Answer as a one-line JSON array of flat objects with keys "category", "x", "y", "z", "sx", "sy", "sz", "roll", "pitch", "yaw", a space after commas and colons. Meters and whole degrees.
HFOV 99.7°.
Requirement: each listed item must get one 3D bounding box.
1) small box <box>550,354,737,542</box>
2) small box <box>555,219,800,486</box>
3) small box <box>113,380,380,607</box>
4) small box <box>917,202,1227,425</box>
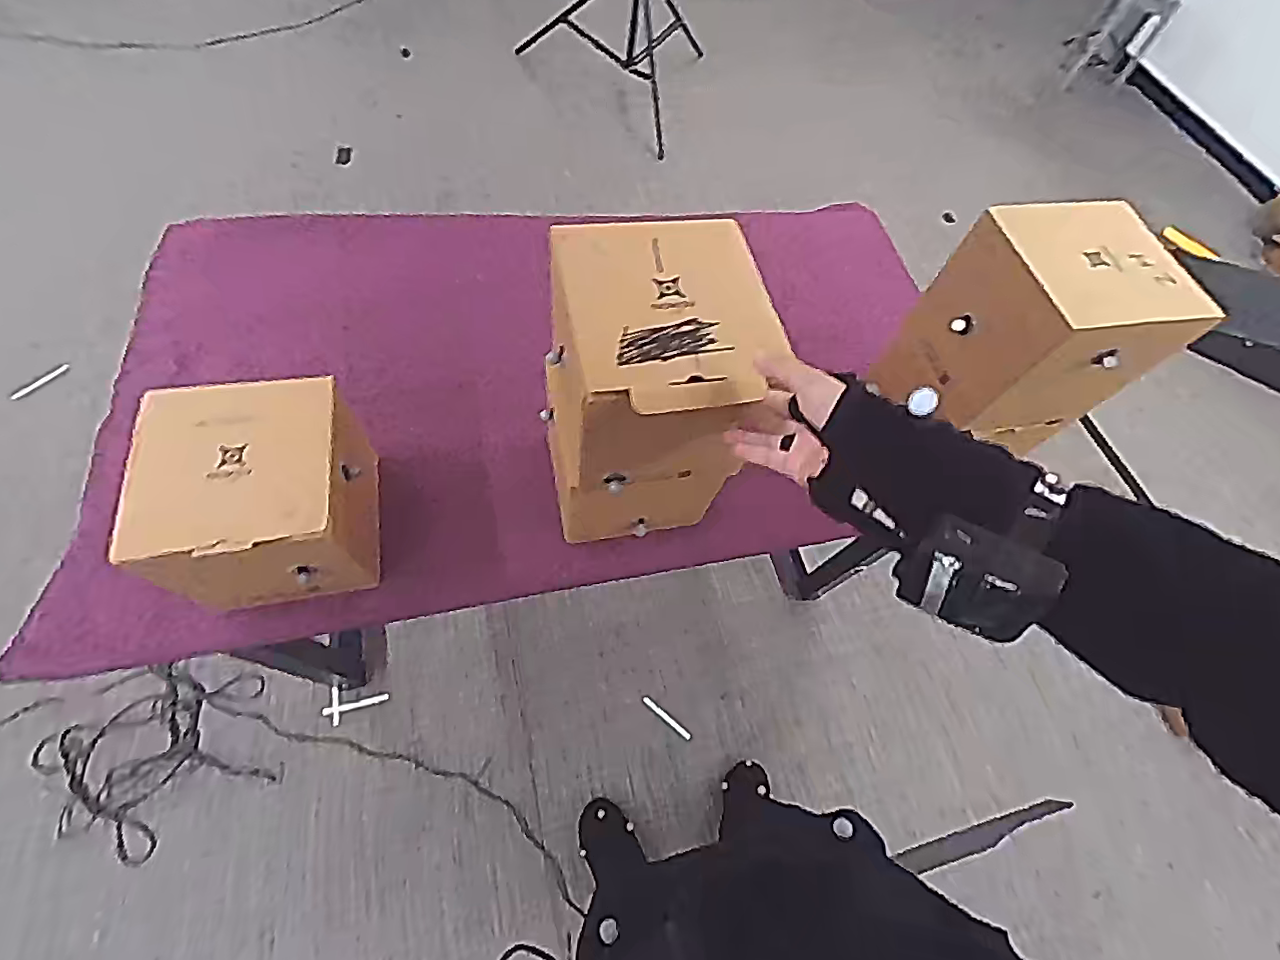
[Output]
[{"category": "small box", "x": -0.010, "y": -0.038, "z": 0.643, "sx": 0.179, "sy": 0.176, "sz": 0.168, "roll": -8, "pitch": 65, "yaw": -13}, {"category": "small box", "x": 0.017, "y": -0.106, "z": 0.494, "sx": 0.168, "sy": 0.176, "sz": 0.179, "roll": -8, "pitch": 65, "yaw": -12}, {"category": "small box", "x": -0.377, "y": 0.023, "z": 0.559, "sx": 0.168, "sy": 0.176, "sz": 0.179, "roll": -8, "pitch": 64, "yaw": -14}, {"category": "small box", "x": 0.438, "y": -0.174, "z": 0.590, "sx": 0.179, "sy": 0.176, "sz": 0.168, "roll": -7, "pitch": 64, "yaw": -11}]
